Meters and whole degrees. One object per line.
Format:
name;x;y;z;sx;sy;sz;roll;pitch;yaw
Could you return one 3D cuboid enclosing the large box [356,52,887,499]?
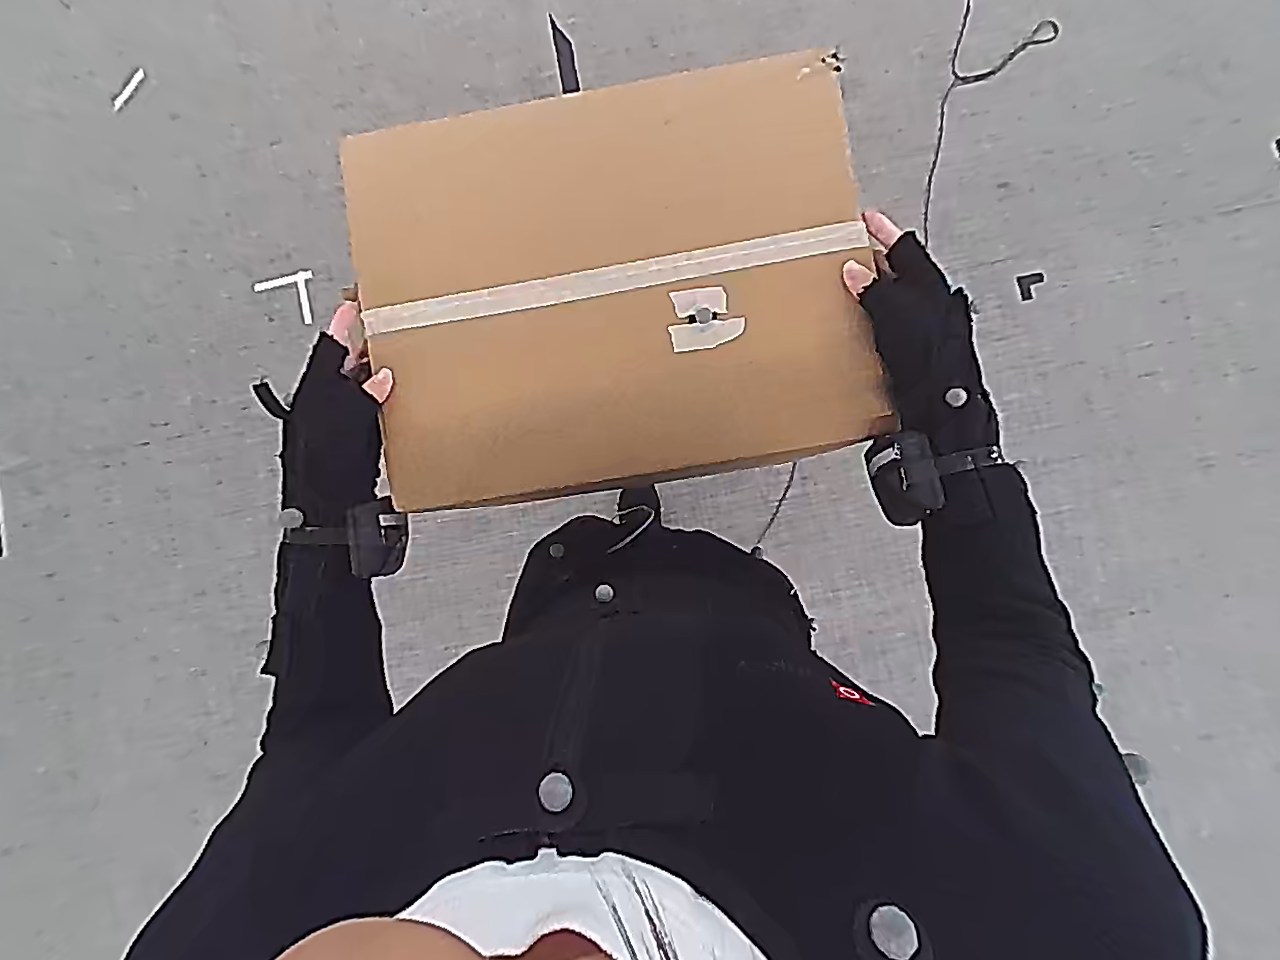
large box;-0.017;-0.164;0.592;0.408;0.320;0.320;-9;89;1
